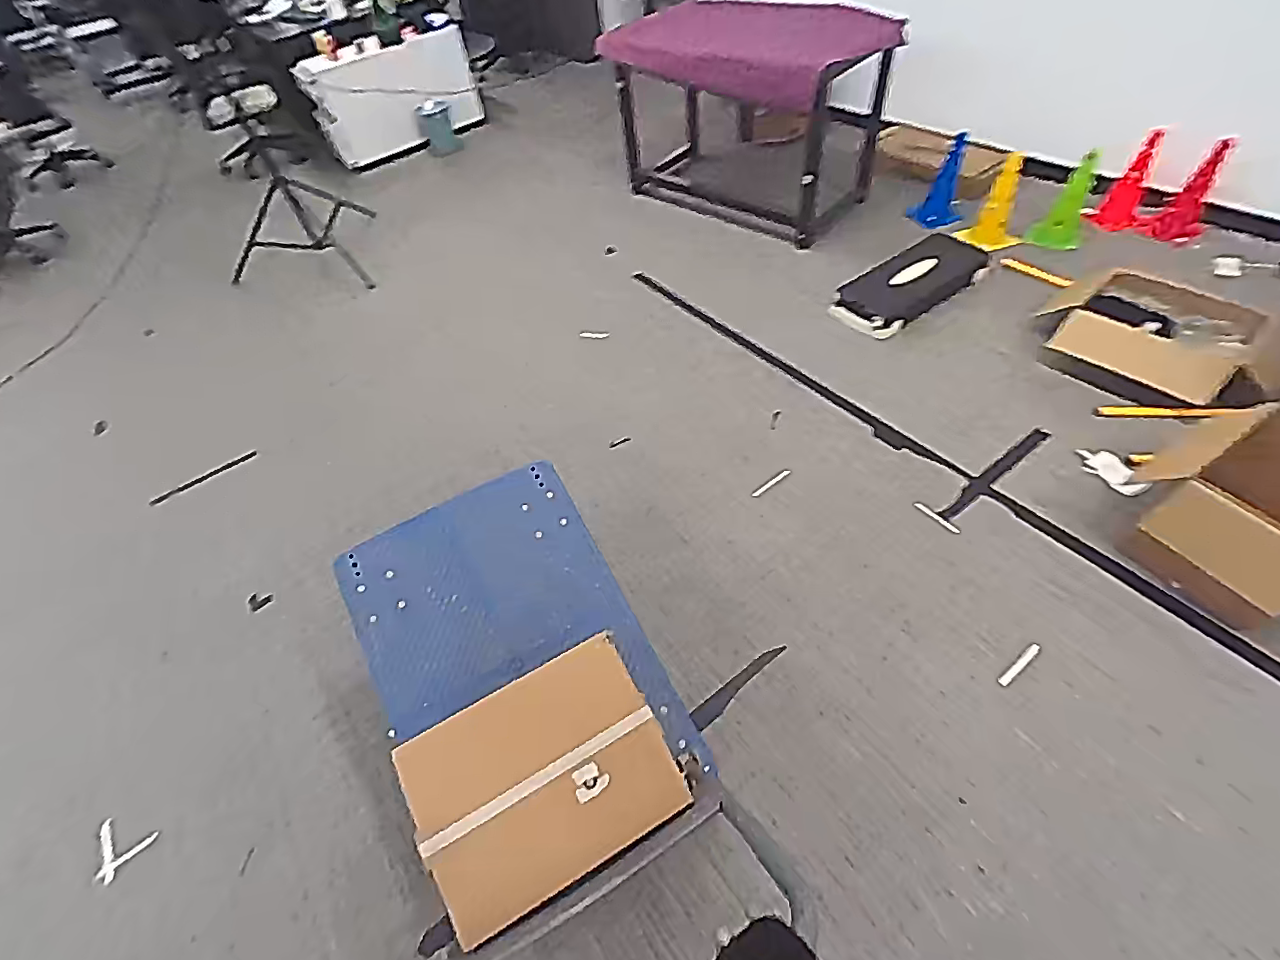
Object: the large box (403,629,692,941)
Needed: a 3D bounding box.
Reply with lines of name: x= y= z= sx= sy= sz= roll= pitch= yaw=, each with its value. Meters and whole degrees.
large box: x=-0.164 y=0.545 z=1.045 sx=0.408 sy=0.320 sz=0.320 roll=-27 pitch=73 yaw=-14
